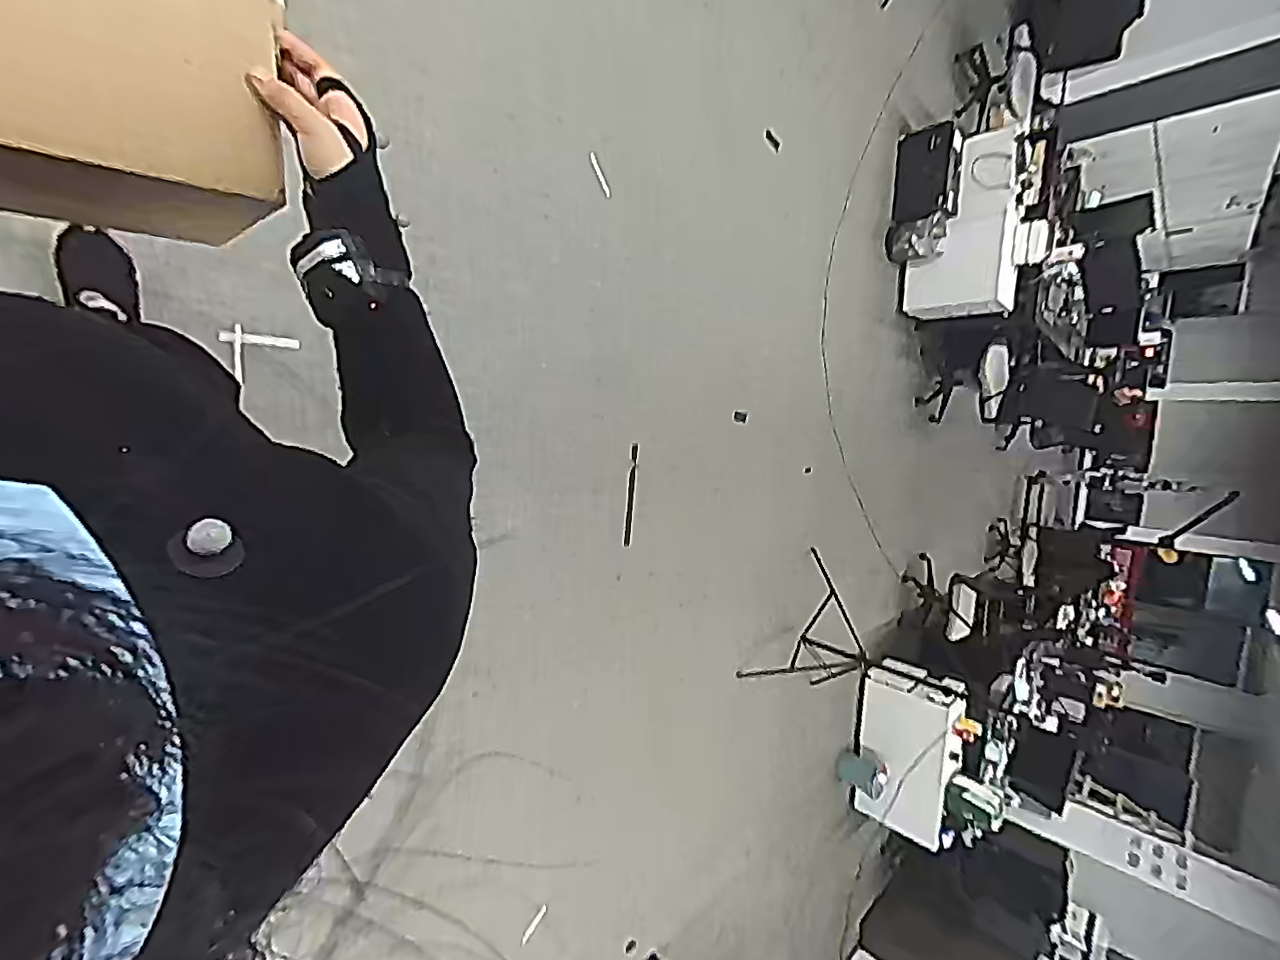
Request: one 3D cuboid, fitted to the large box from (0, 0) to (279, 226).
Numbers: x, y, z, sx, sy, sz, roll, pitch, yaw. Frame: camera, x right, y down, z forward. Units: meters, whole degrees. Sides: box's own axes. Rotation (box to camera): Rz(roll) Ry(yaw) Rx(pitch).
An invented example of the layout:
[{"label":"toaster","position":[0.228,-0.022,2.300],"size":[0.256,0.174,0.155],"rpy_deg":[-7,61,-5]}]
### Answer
[{"label":"large box","position":[-0.537,-0.396,0.384],"size":[0.408,0.320,0.320],"rpy_deg":[-9,106,-44]}]
